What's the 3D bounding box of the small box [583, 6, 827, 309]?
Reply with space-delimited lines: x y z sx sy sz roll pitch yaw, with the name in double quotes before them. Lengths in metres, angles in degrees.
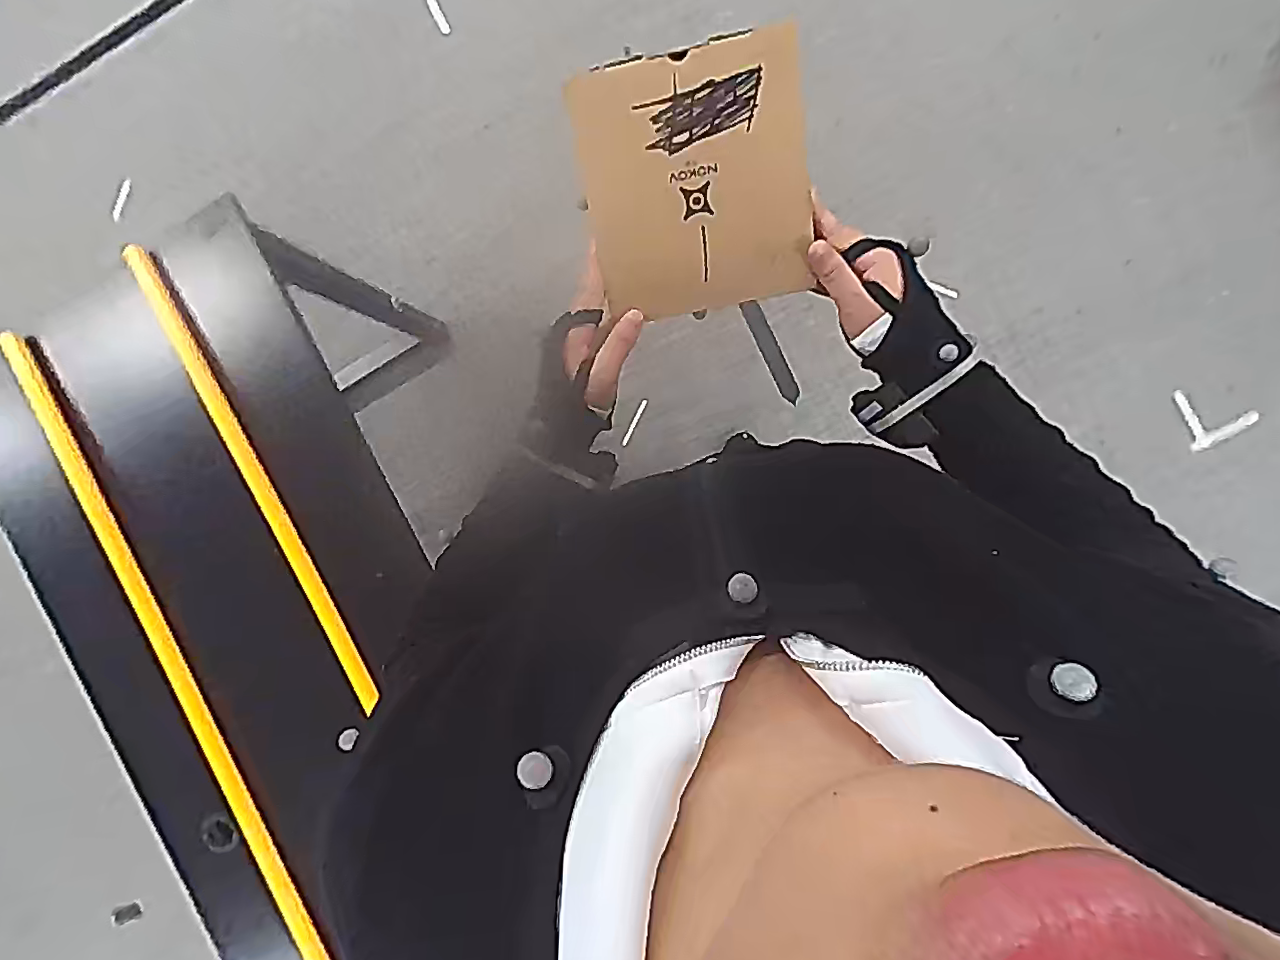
"small box" 0.055 -0.256 0.474 0.168 0.176 0.179 -8 111 7
